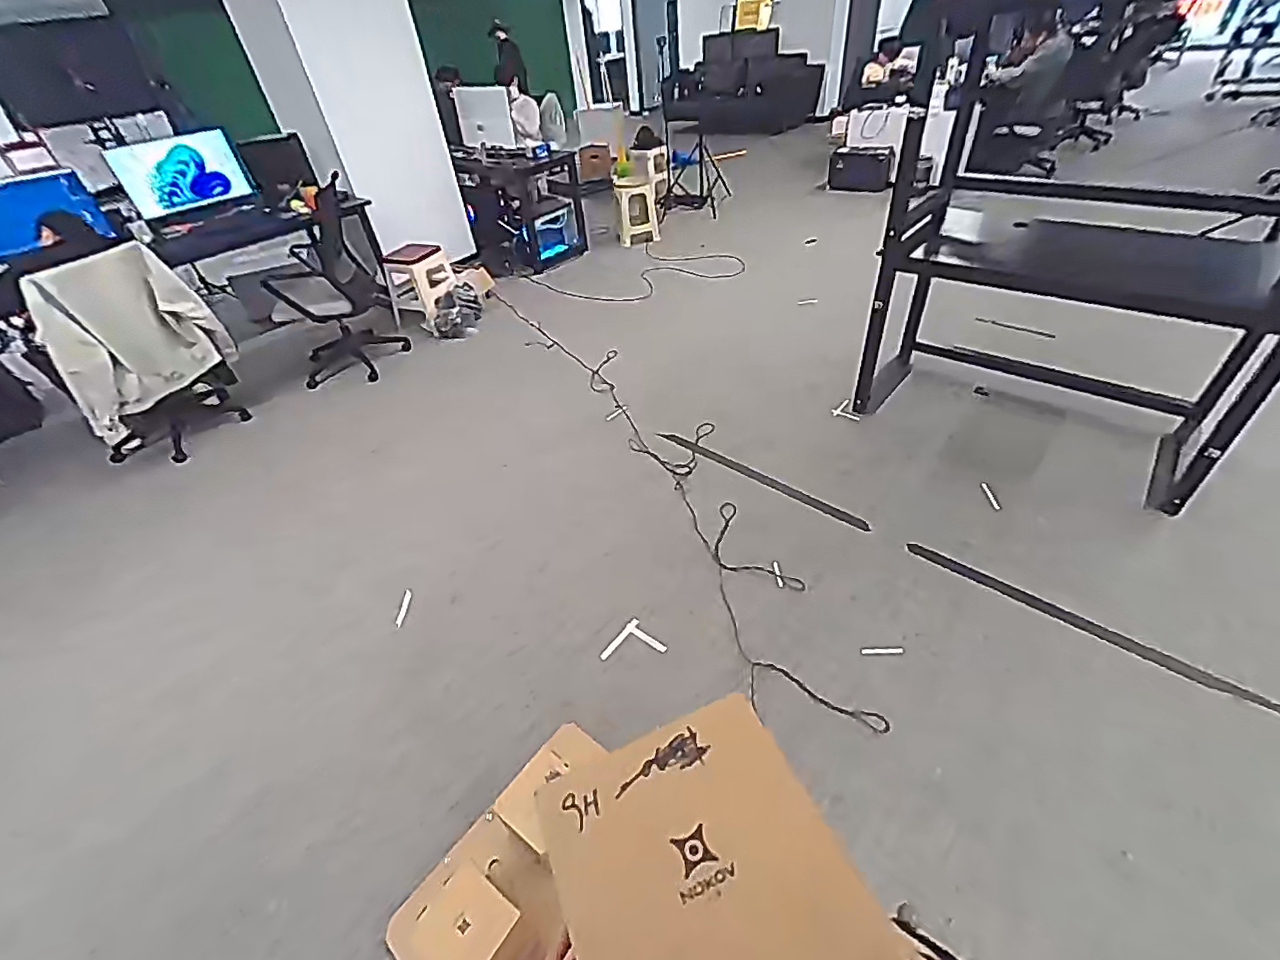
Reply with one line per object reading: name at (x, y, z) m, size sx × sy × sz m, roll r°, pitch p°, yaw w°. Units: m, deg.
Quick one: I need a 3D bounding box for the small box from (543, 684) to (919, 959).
small box at (0.049, 0.285, 0.371) m, size 0.168 × 0.176 × 0.179 m, roll -19°, pitch 41°, yaw -14°

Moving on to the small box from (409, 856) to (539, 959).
small box at (-0.339, 0.943, 1.131) m, size 0.179 × 0.176 × 0.168 m, roll 22°, pitch 50°, yaw 28°

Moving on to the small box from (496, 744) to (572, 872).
small box at (-0.209, 0.783, 1.291) m, size 0.168 × 0.176 × 0.179 m, roll 22°, pitch 49°, yaw 30°
